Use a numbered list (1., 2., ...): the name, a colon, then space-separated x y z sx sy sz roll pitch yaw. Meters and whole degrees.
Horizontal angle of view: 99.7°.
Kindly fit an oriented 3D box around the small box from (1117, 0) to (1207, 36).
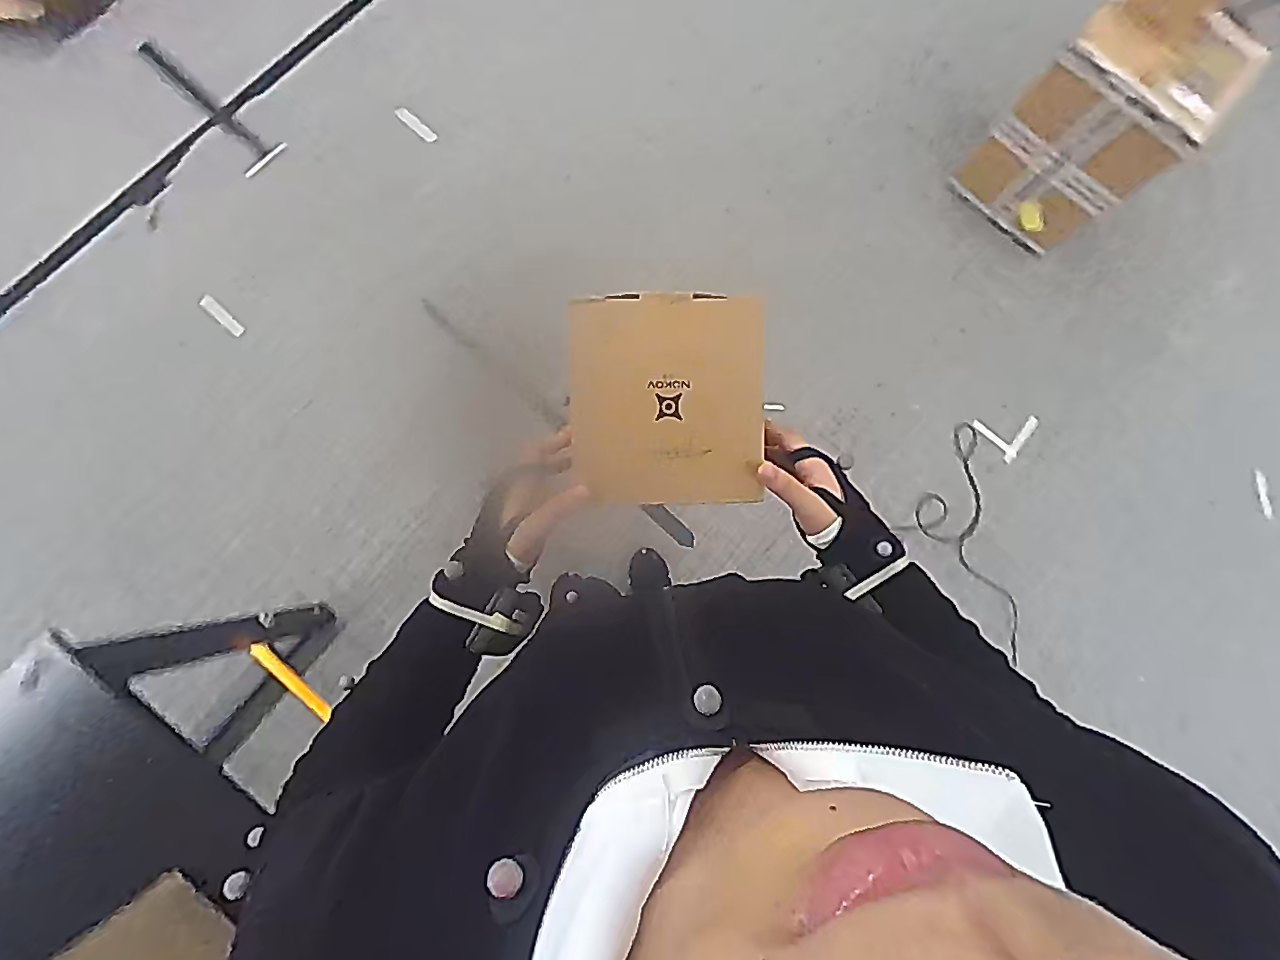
1. small box: 1.240 -1.170 1.213 0.168 0.176 0.179 40 84 4
